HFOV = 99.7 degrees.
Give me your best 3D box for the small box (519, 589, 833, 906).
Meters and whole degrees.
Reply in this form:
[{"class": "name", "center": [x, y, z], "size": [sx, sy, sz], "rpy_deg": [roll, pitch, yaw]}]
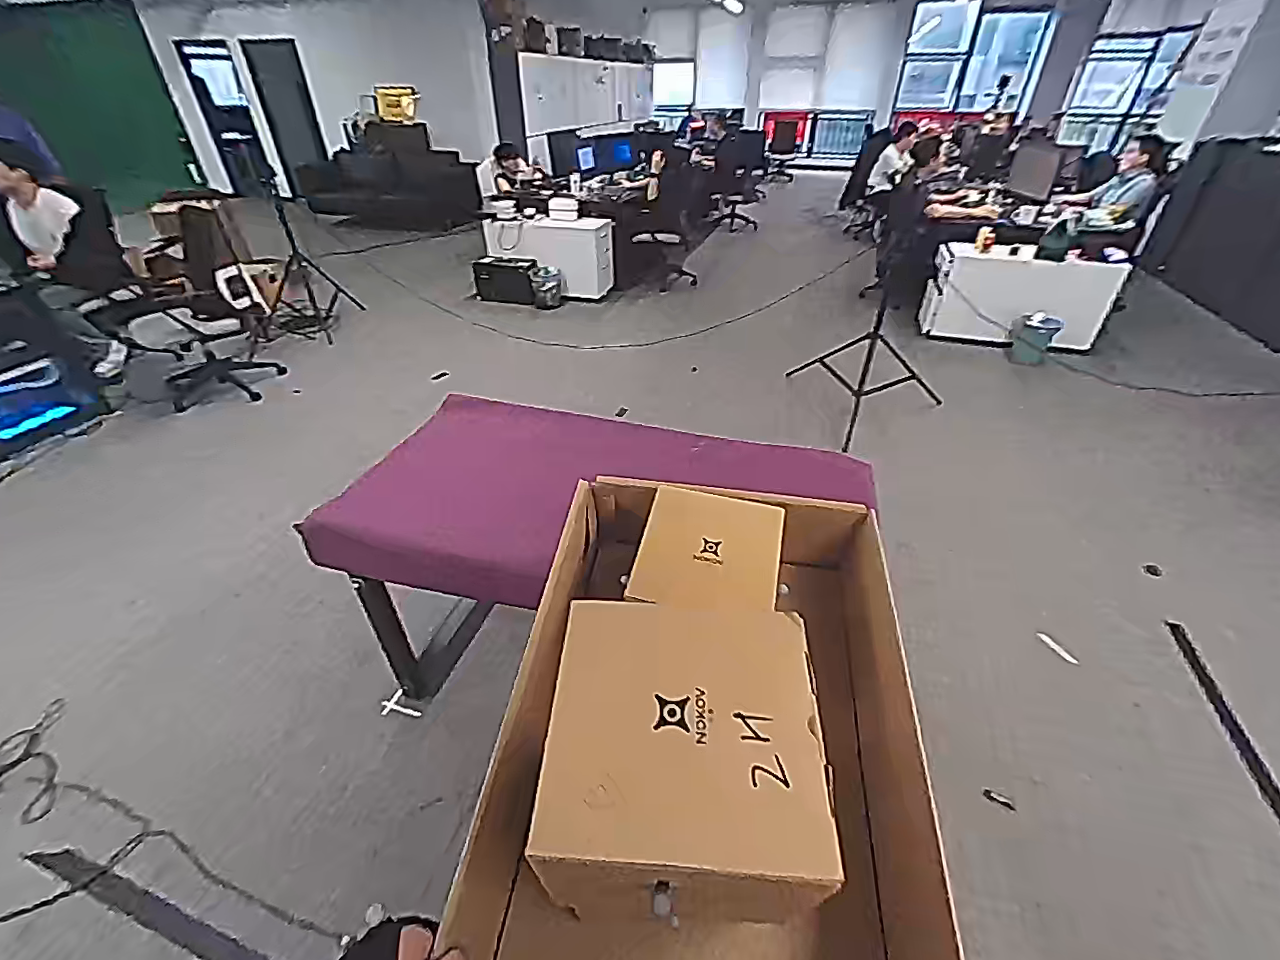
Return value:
[{"class": "small box", "center": [0.024, 0.201, 0.406], "size": [0.179, 0.176, 0.168], "rpy_deg": [3, 45, 2]}]
